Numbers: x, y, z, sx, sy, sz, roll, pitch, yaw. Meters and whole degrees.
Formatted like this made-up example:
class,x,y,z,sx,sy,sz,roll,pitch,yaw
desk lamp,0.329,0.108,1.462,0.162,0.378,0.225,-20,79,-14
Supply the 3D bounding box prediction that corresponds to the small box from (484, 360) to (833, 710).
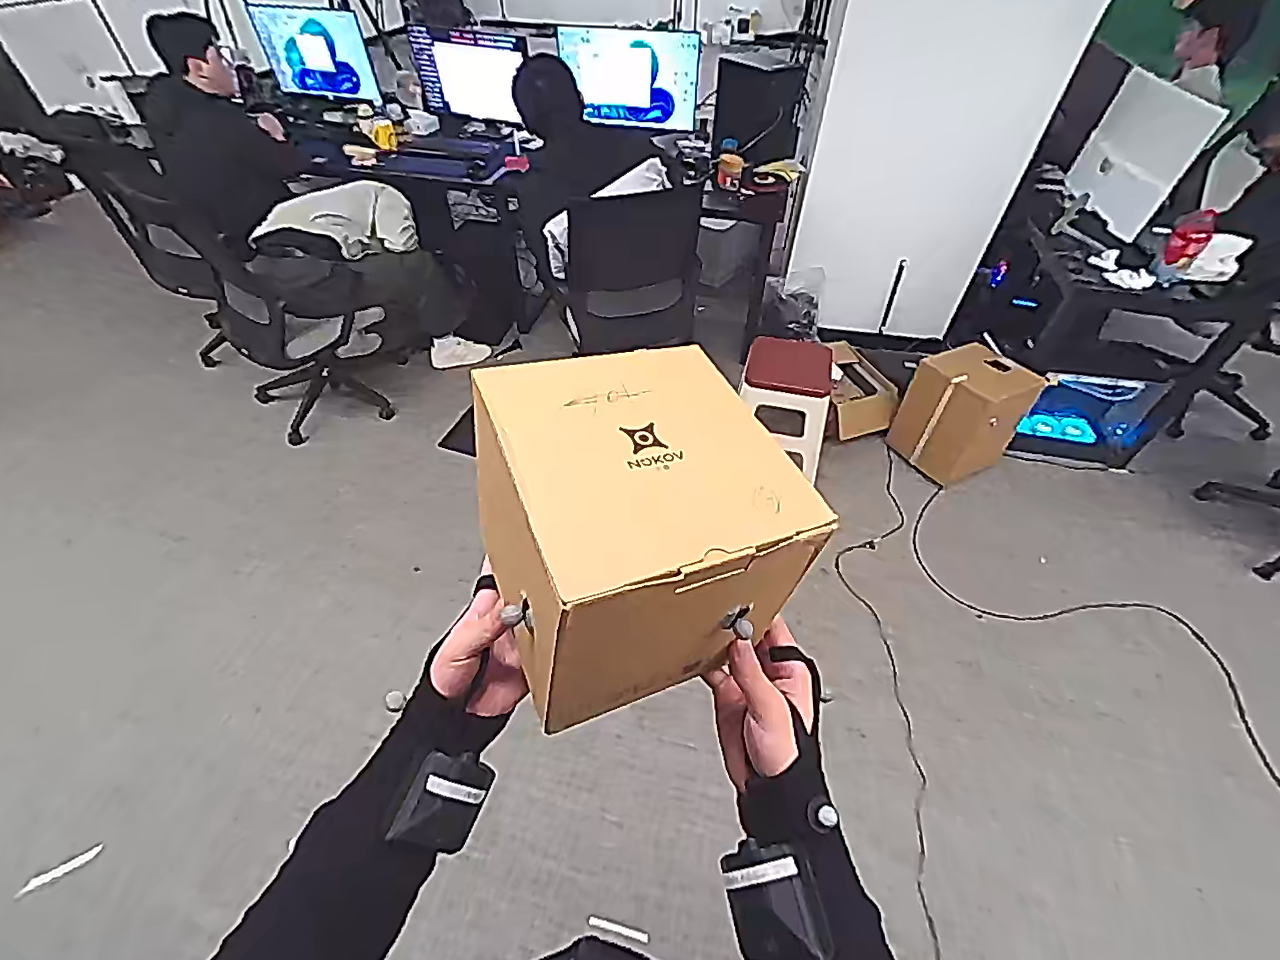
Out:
class,x,y,z,sx,sy,sz,roll,pitch,yaw
small box,-0.007,0.040,0.386,0.168,0.176,0.179,-11,50,-25
